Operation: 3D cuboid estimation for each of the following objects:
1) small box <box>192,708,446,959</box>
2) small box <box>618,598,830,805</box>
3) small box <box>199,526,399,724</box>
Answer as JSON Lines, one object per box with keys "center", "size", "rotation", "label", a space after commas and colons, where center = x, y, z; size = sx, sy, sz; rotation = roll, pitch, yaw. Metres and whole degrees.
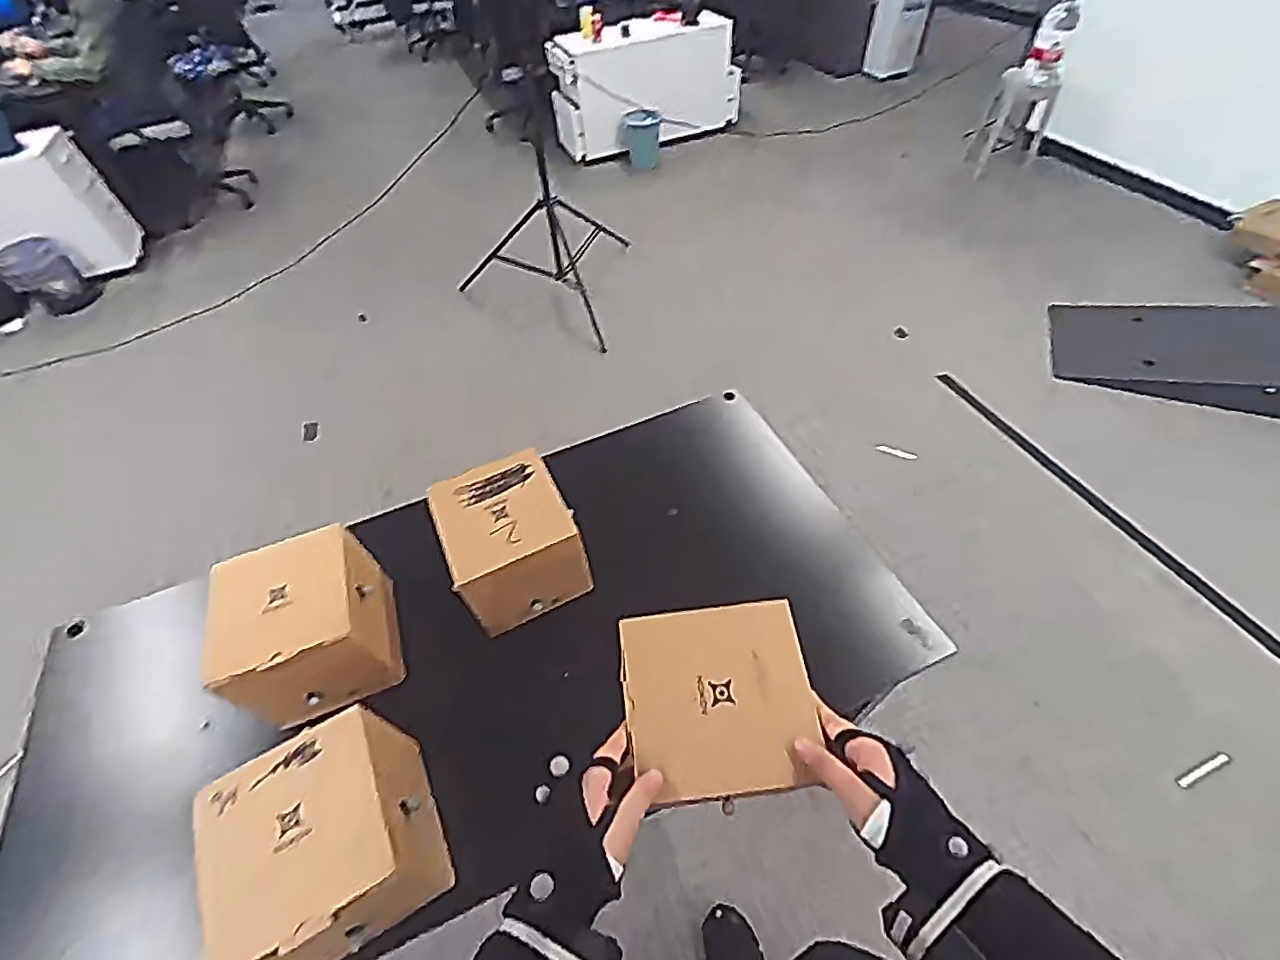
{"center": [-0.330, 0.384, 0.577], "size": [0.168, 0.176, 0.179], "rotation": [-26, 54, -16], "label": "small box"}
{"center": [0.076, 0.242, 0.577], "size": [0.179, 0.176, 0.168], "rotation": [-7, 58, -2], "label": "small box"}
{"center": [-0.449, 0.199, 0.736], "size": [0.168, 0.176, 0.179], "rotation": [-20, 53, -12], "label": "small box"}
